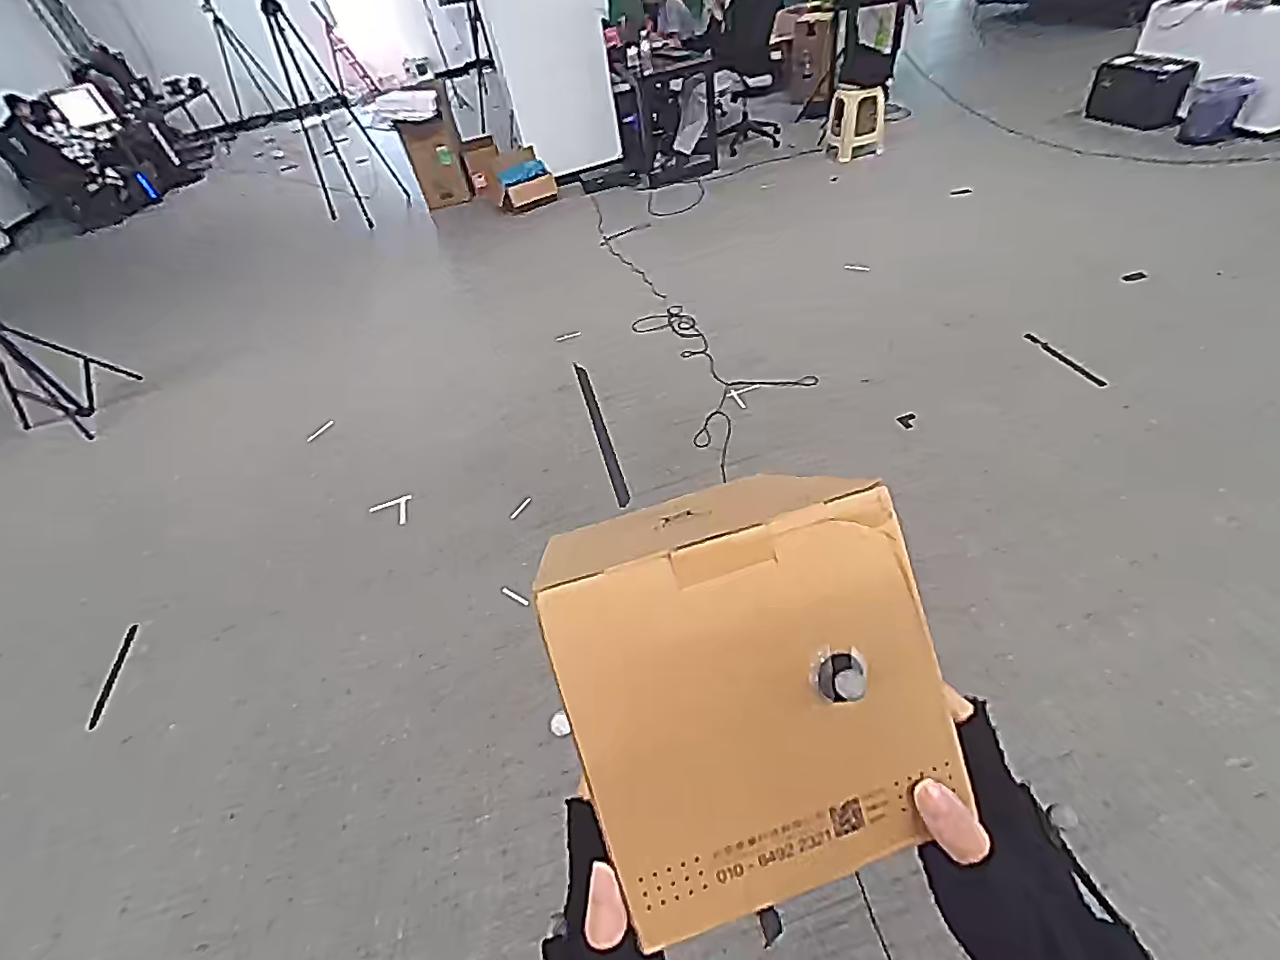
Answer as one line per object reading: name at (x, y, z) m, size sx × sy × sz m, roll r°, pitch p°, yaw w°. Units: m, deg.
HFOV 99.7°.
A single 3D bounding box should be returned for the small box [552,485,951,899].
small box at (0.053, 0.110, 0.336) m, size 0.168 × 0.176 × 0.179 m, roll -17°, pitch 3°, yaw -5°
